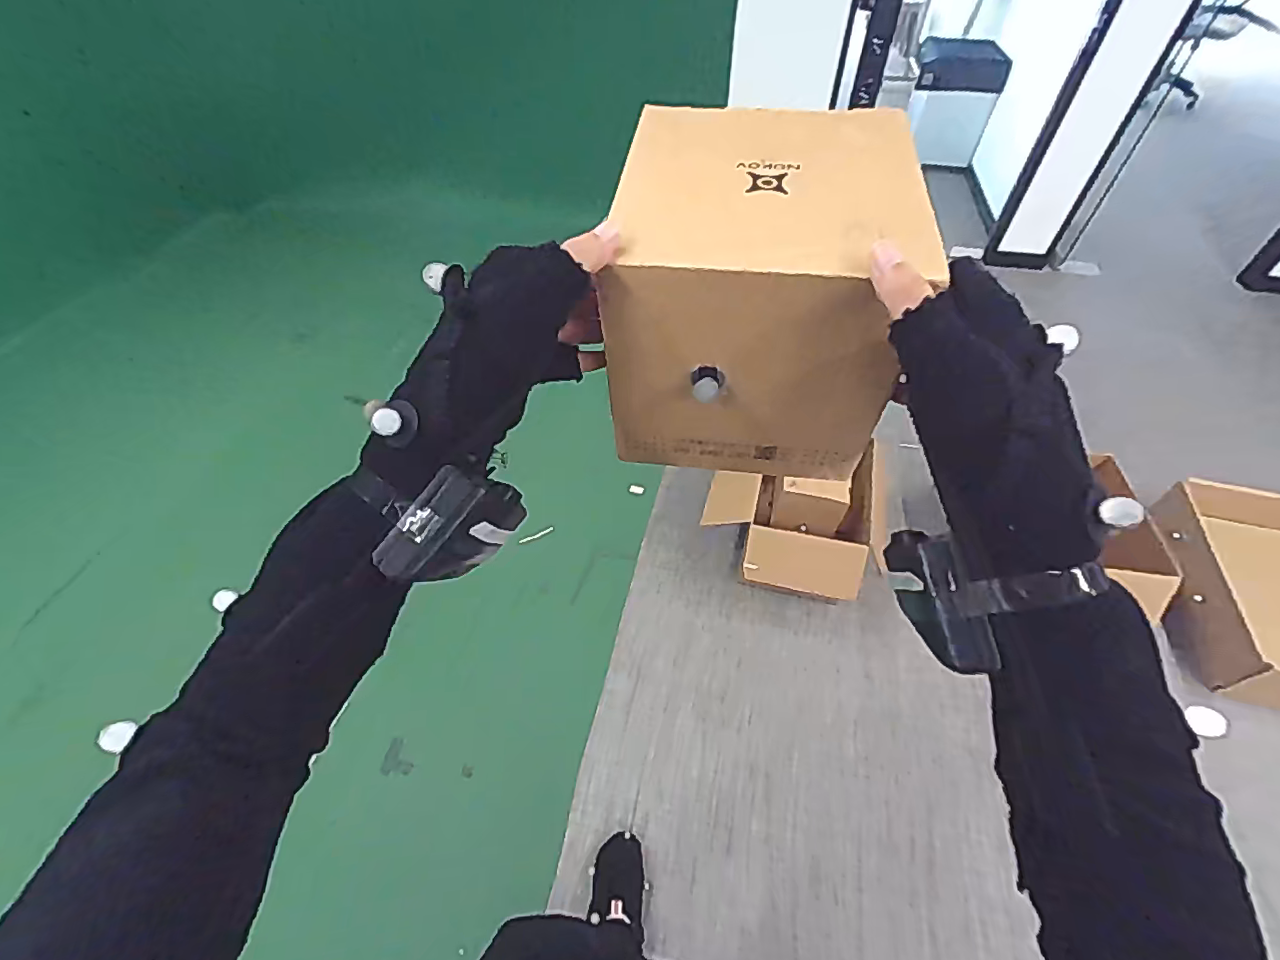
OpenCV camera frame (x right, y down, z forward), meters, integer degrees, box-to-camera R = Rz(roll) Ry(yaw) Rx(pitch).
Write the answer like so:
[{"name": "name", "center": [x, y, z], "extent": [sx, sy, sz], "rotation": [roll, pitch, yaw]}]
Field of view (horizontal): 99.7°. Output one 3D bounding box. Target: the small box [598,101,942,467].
[{"name": "small box", "center": [0.076, -0.126, 0.368], "extent": [0.168, 0.176, 0.179], "rotation": [5, 56, 7]}]

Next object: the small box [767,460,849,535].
[{"name": "small box", "center": [0.468, 0.033, 1.514], "extent": [0.179, 0.176, 0.168], "rotation": [13, 49, 7]}]
